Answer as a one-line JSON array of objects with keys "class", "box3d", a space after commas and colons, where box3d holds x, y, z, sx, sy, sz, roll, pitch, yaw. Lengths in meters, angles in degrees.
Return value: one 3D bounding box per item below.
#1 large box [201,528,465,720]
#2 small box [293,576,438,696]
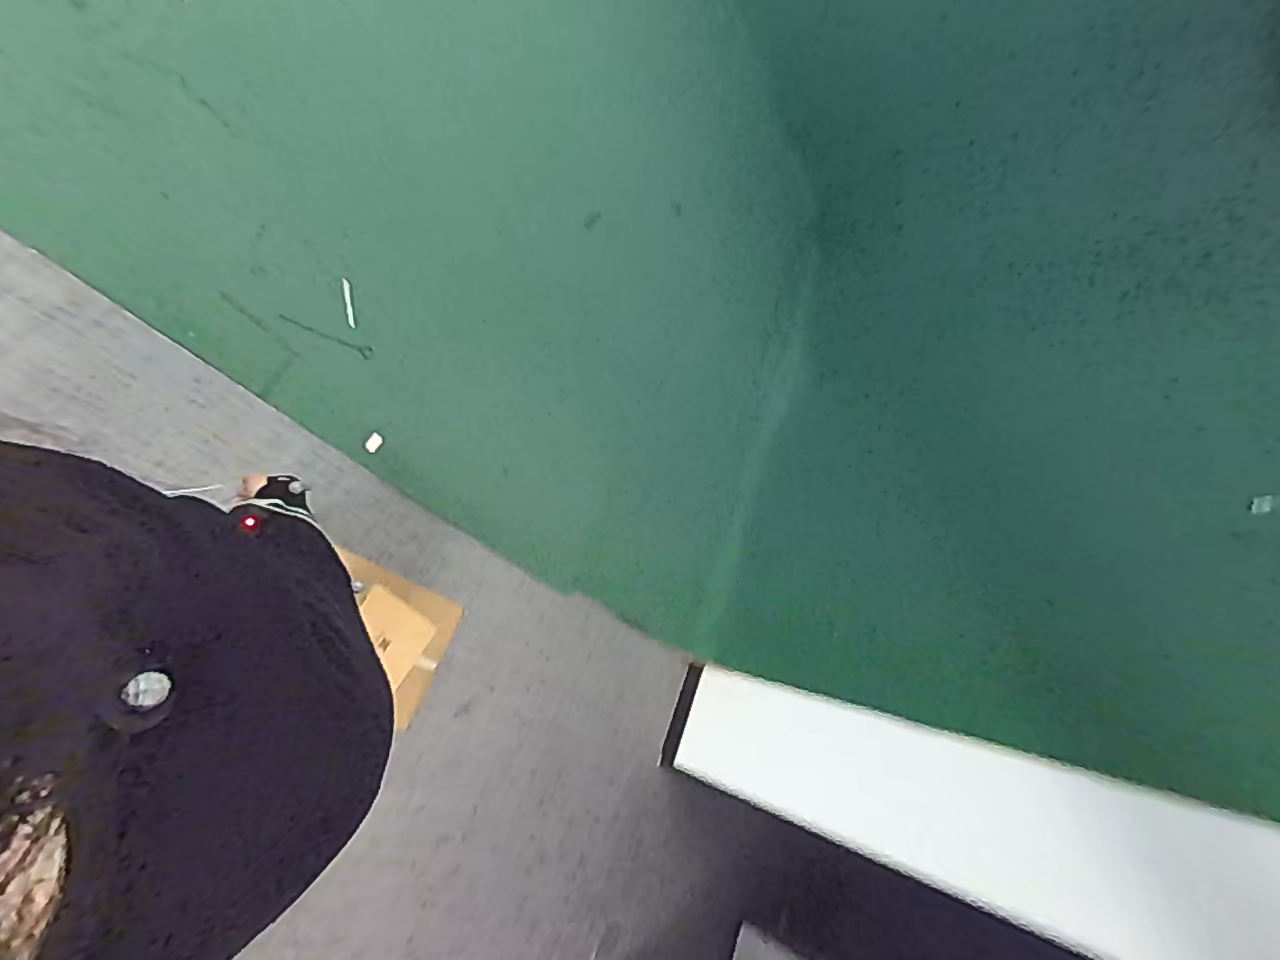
[{"class": "large box", "box3d": [-0.729, 0.344, 1.316, 0.408, 0.320, 0.320, 44, 59, -42]}, {"class": "small box", "box3d": [-0.569, 0.316, 1.125, 0.179, 0.176, 0.168, 54, 51, -34]}]
